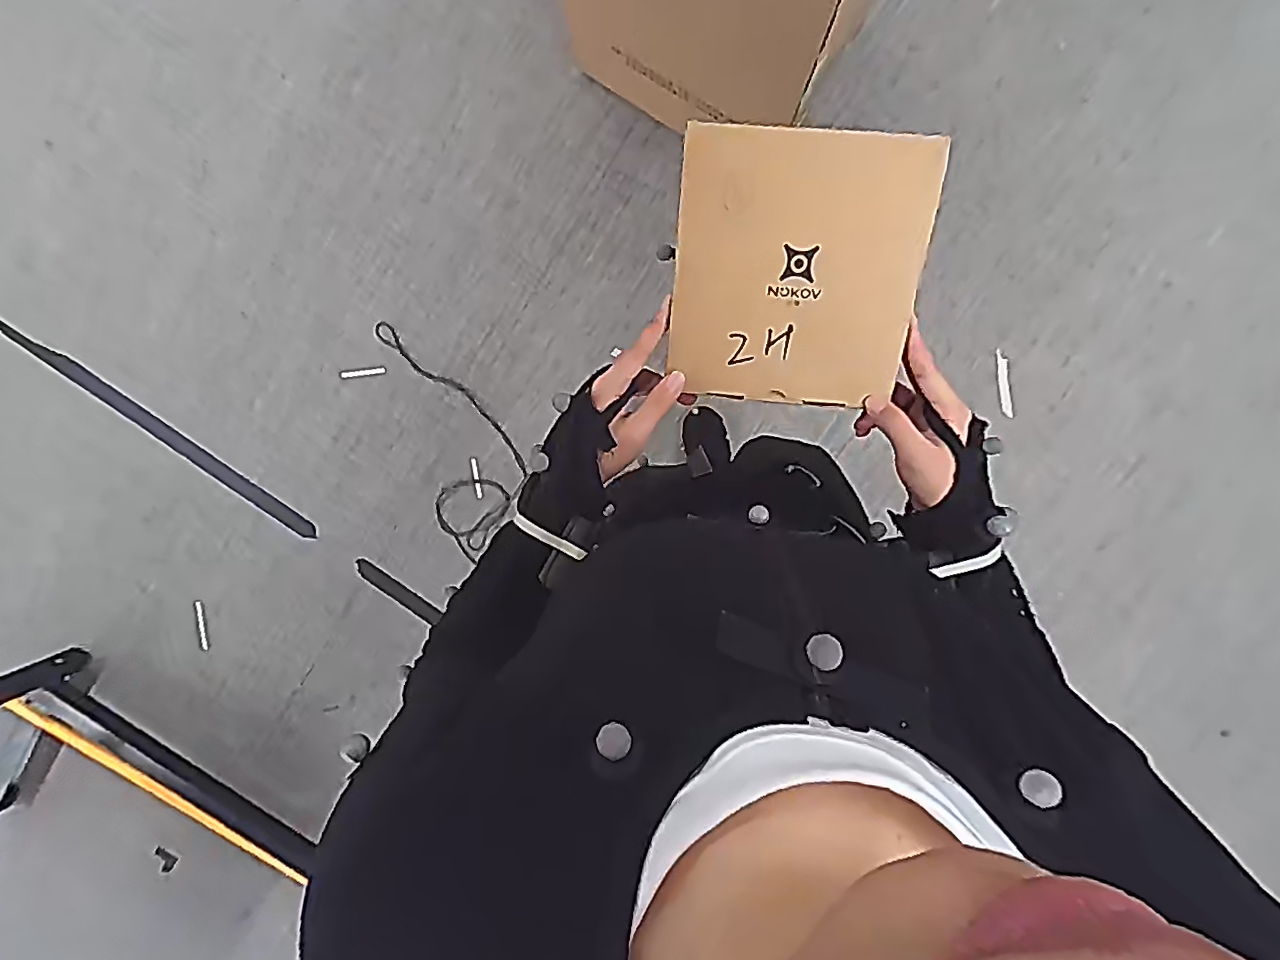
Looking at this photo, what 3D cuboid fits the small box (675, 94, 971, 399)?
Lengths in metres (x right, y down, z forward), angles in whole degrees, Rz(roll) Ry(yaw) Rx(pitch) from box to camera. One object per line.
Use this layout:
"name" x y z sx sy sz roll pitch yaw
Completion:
"small box" 0.118 -0.173 0.431 0.168 0.176 0.179 6 111 3
